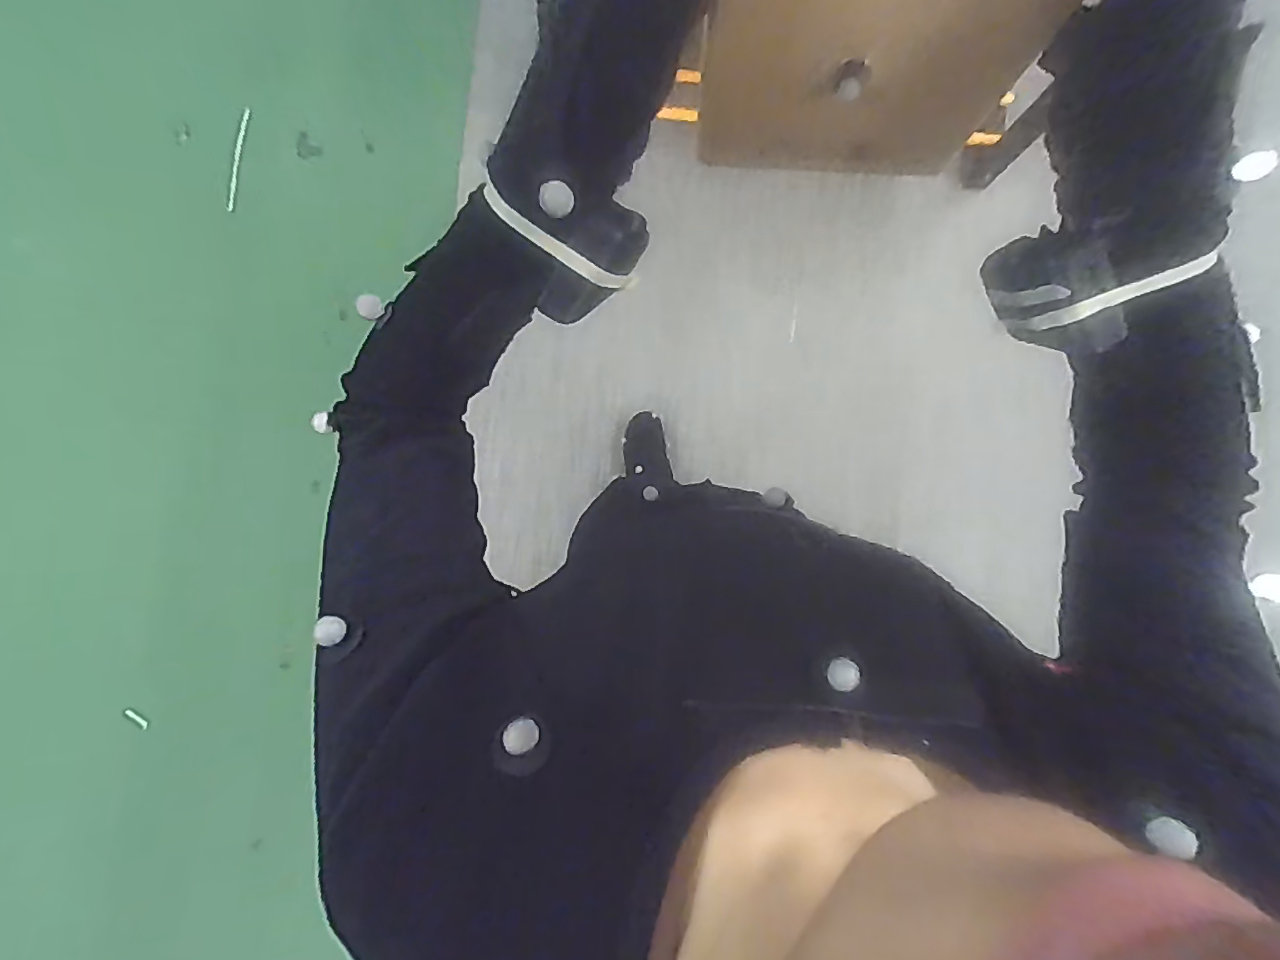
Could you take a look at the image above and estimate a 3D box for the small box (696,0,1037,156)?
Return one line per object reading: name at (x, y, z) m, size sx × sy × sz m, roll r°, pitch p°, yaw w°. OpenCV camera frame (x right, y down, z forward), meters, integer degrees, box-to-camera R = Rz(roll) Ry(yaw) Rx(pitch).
small box at (0.122, -0.311, 0.295) m, size 0.168 × 0.176 × 0.179 m, roll 4°, pitch 85°, yaw 1°
